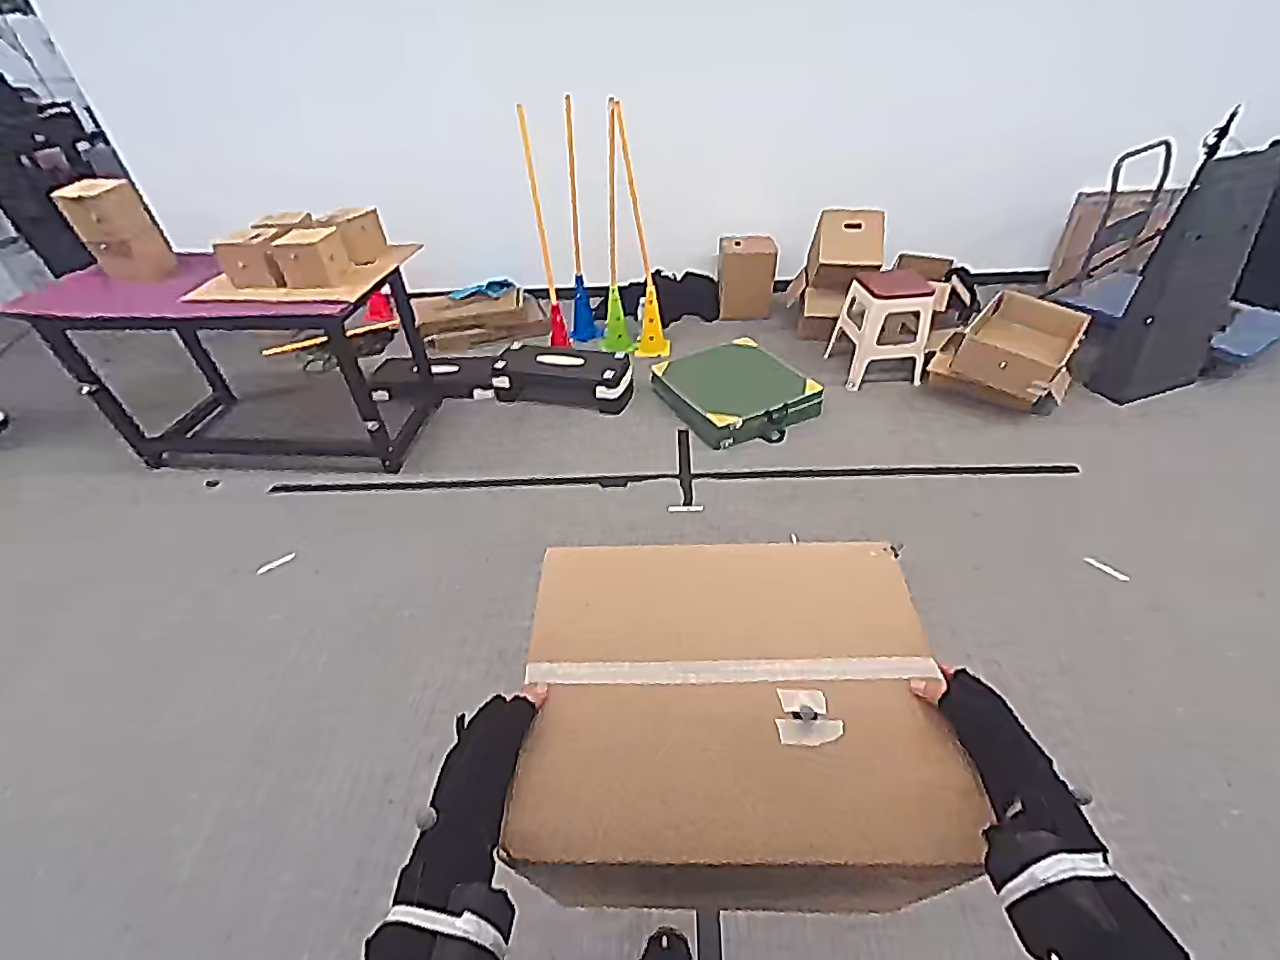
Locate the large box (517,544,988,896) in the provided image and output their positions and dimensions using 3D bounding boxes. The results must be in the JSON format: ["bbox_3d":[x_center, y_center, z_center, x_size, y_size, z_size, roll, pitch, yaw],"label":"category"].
[{"bbox_3d":[0.098,0.294,0.659,0.408,0.320,0.320,-1,47,3],"label":"large box"}]
